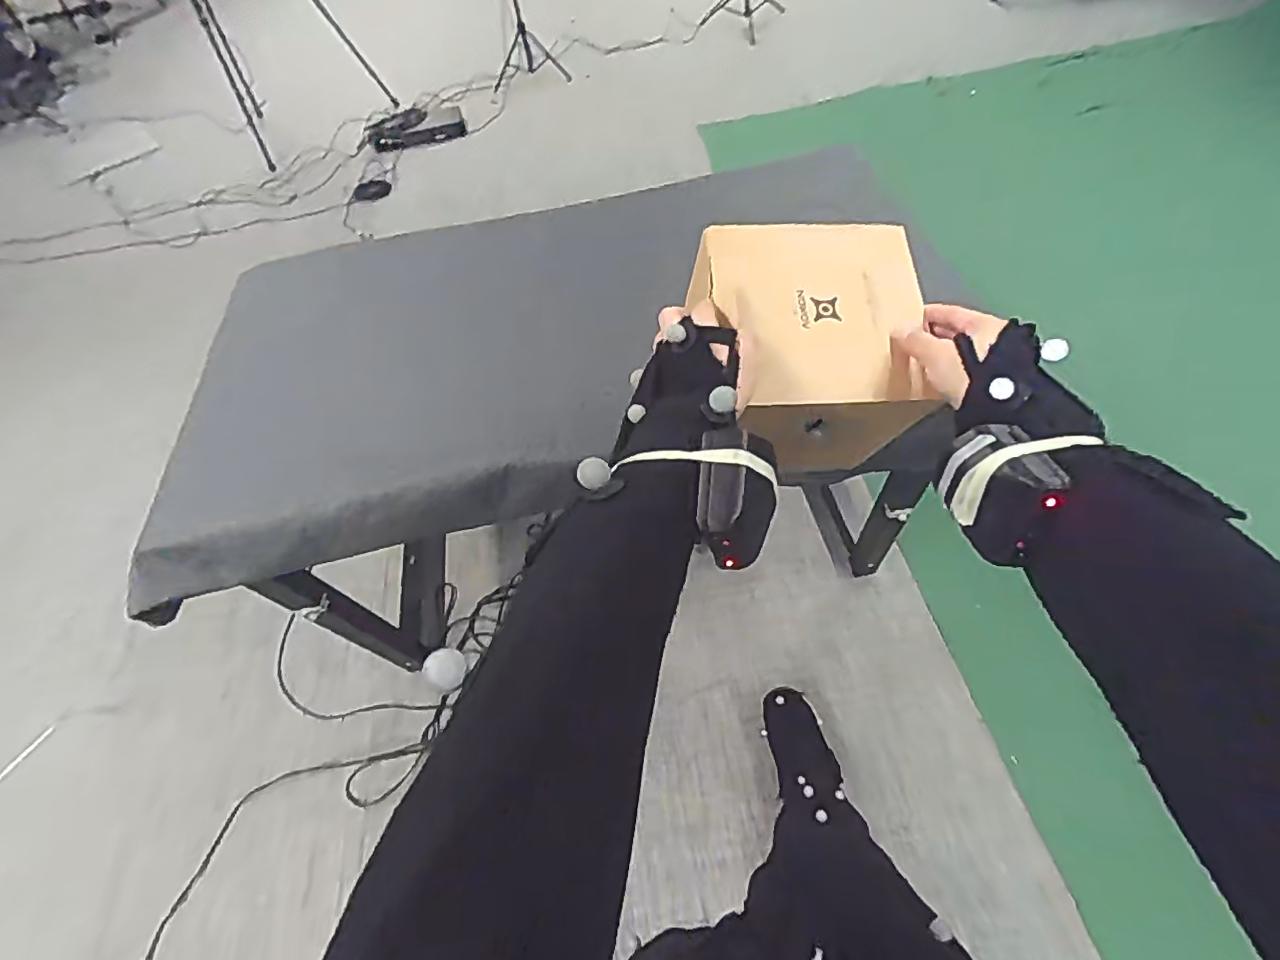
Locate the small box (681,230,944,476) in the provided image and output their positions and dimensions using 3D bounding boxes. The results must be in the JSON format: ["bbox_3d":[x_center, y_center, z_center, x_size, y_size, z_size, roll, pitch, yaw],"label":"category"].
[{"bbox_3d":[0.136,-0.106,0.505,0.179,0.176,0.168,-2,73,-6],"label":"small box"}]
